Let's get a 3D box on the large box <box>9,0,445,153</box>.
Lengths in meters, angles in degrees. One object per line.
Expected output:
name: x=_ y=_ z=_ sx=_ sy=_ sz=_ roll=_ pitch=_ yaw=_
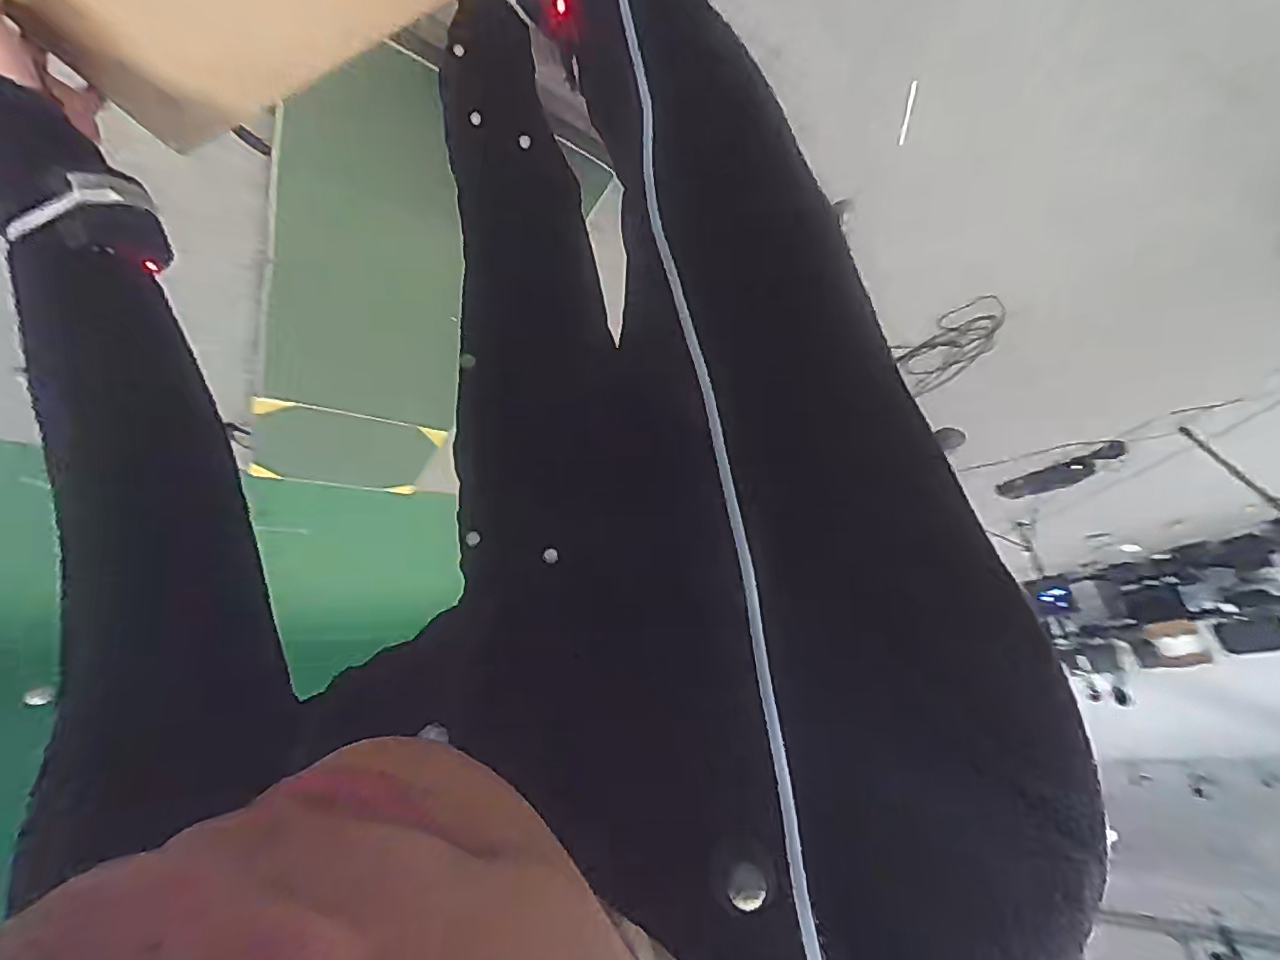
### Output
large box: x=-0.322 y=-0.557 z=0.412 sx=0.408 sy=0.320 sz=0.320 roll=-14 pitch=152 yaw=18
